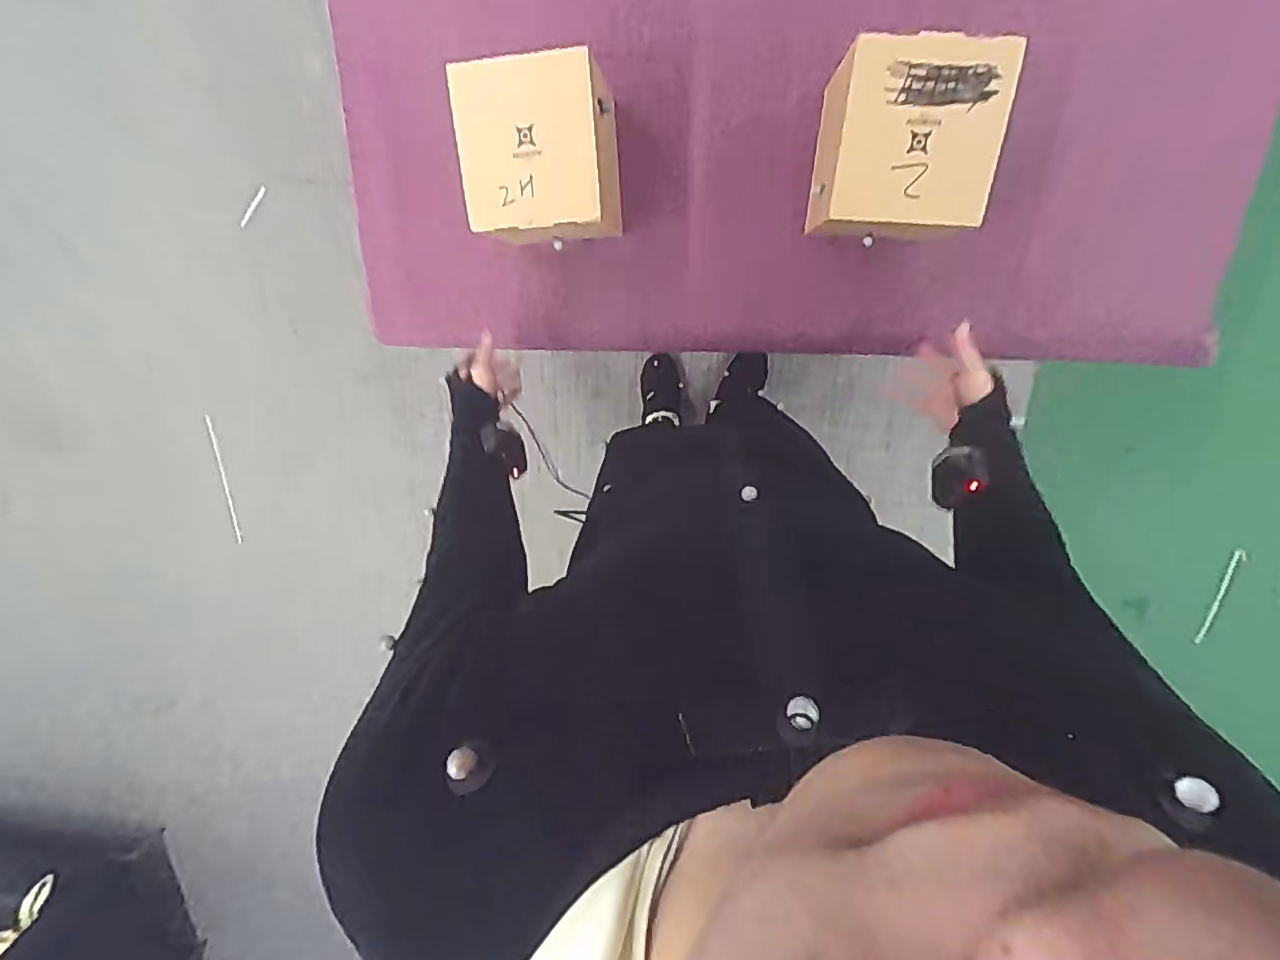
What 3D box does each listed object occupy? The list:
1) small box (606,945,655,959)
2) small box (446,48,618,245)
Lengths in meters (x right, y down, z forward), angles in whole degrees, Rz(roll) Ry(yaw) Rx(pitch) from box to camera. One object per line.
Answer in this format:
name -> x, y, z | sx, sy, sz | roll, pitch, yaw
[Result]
small box -> -0.036, 1.513, 1.573 | 0.168, 0.176, 0.179 | 12, 111, 5
small box -> -0.125, -0.412, 0.699 | 0.168, 0.176, 0.179 | -1, 108, 8
